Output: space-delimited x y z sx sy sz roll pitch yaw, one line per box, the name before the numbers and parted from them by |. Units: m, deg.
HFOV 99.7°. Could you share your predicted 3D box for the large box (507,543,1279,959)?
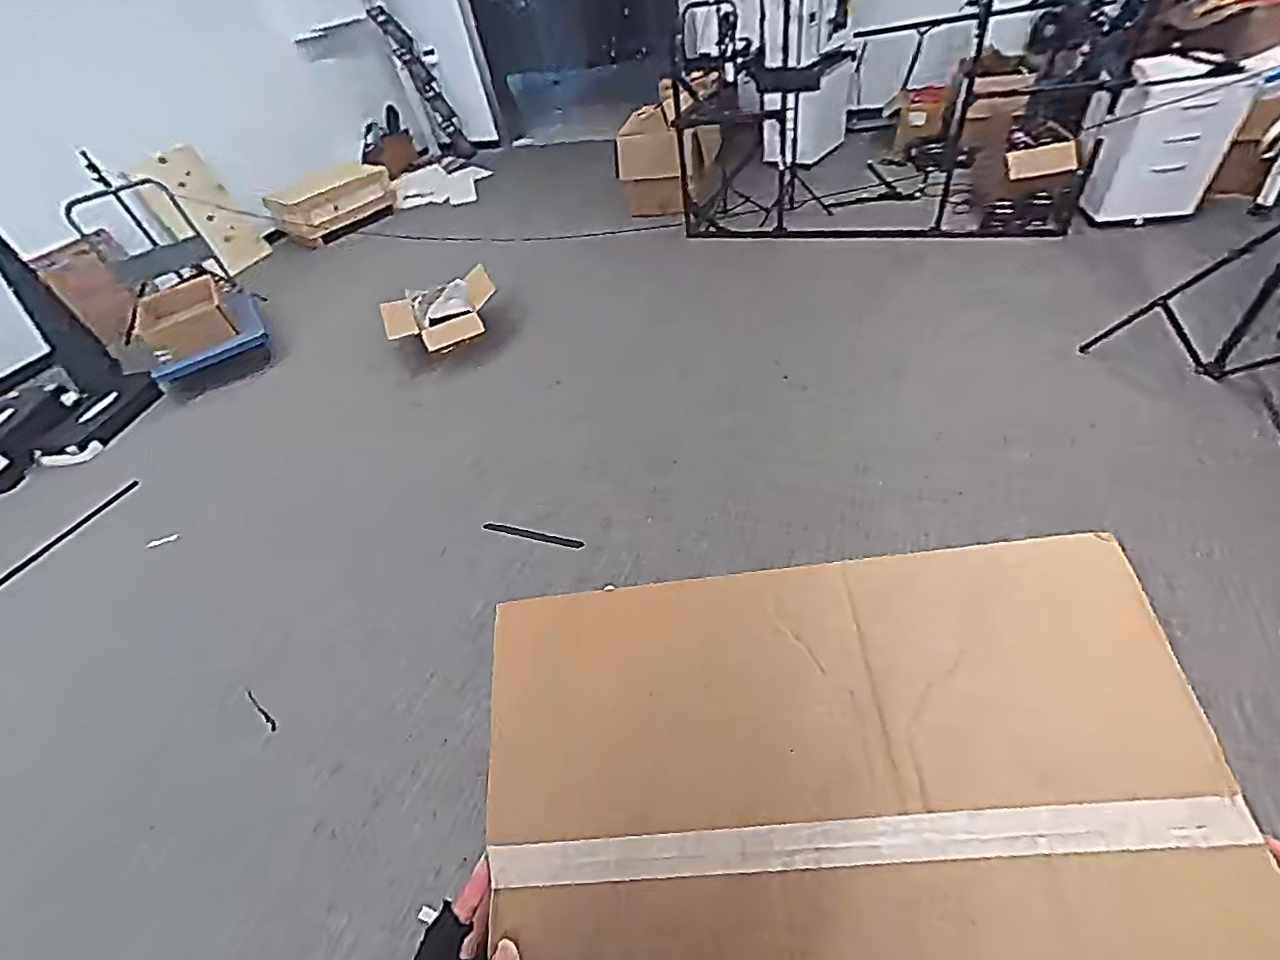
large box | 0.138 0.269 0.438 0.408 0.320 0.320 -8 65 7
